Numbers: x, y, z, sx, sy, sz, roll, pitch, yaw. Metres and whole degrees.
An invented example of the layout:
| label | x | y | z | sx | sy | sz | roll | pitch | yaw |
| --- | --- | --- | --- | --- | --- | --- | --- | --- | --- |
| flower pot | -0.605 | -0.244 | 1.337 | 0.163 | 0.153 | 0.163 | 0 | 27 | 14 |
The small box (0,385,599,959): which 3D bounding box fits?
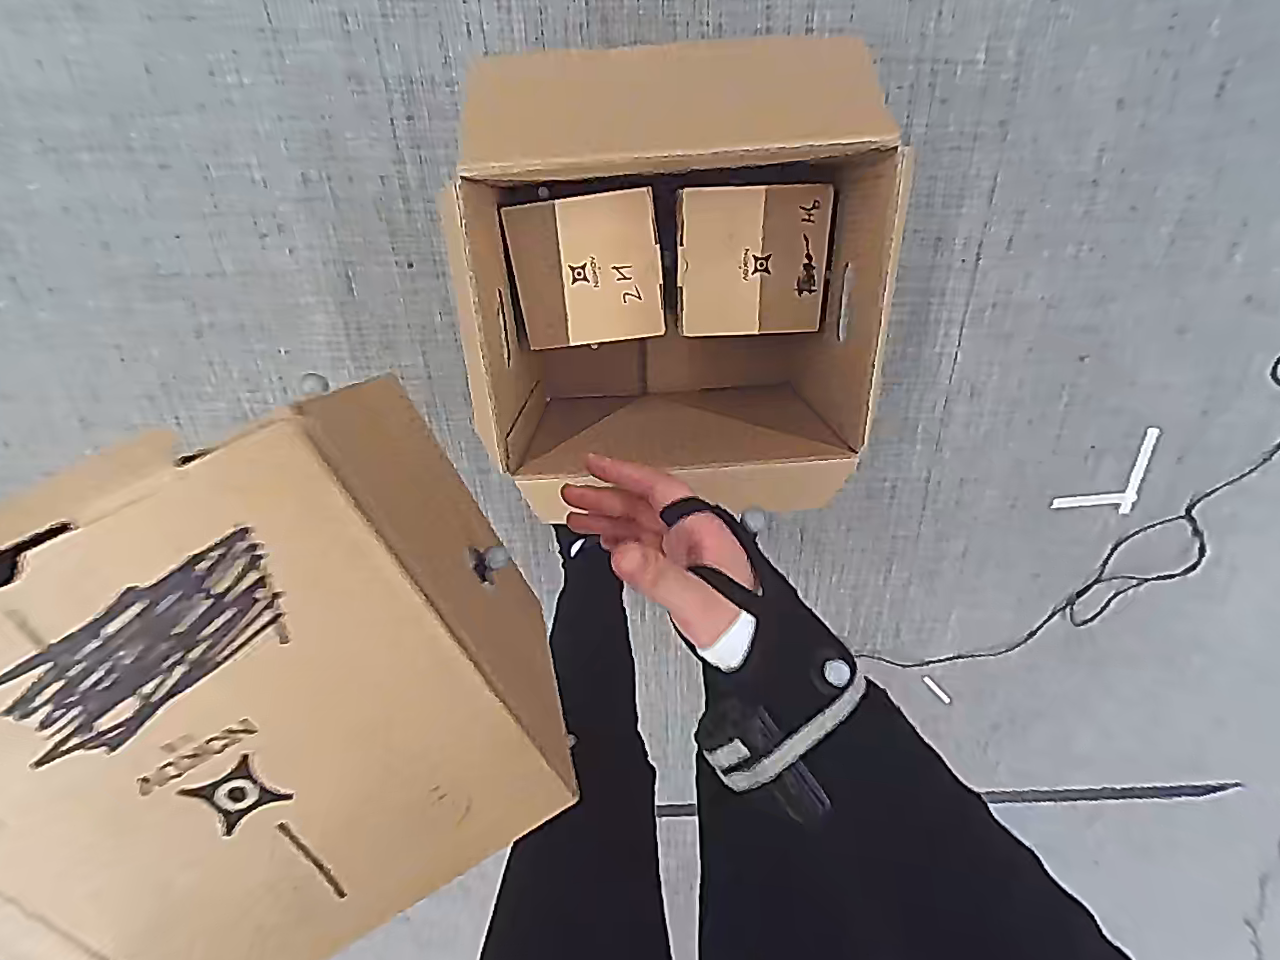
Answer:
| label | x | y | z | sx | sy | sz | roll | pitch | yaw |
| --- | --- | --- | --- | --- | --- | --- | --- | --- | --- |
| small box | -0.141 | 0.067 | 0.243 | 0.168 | 0.176 | 0.179 | -28 | 111 | -7 |
